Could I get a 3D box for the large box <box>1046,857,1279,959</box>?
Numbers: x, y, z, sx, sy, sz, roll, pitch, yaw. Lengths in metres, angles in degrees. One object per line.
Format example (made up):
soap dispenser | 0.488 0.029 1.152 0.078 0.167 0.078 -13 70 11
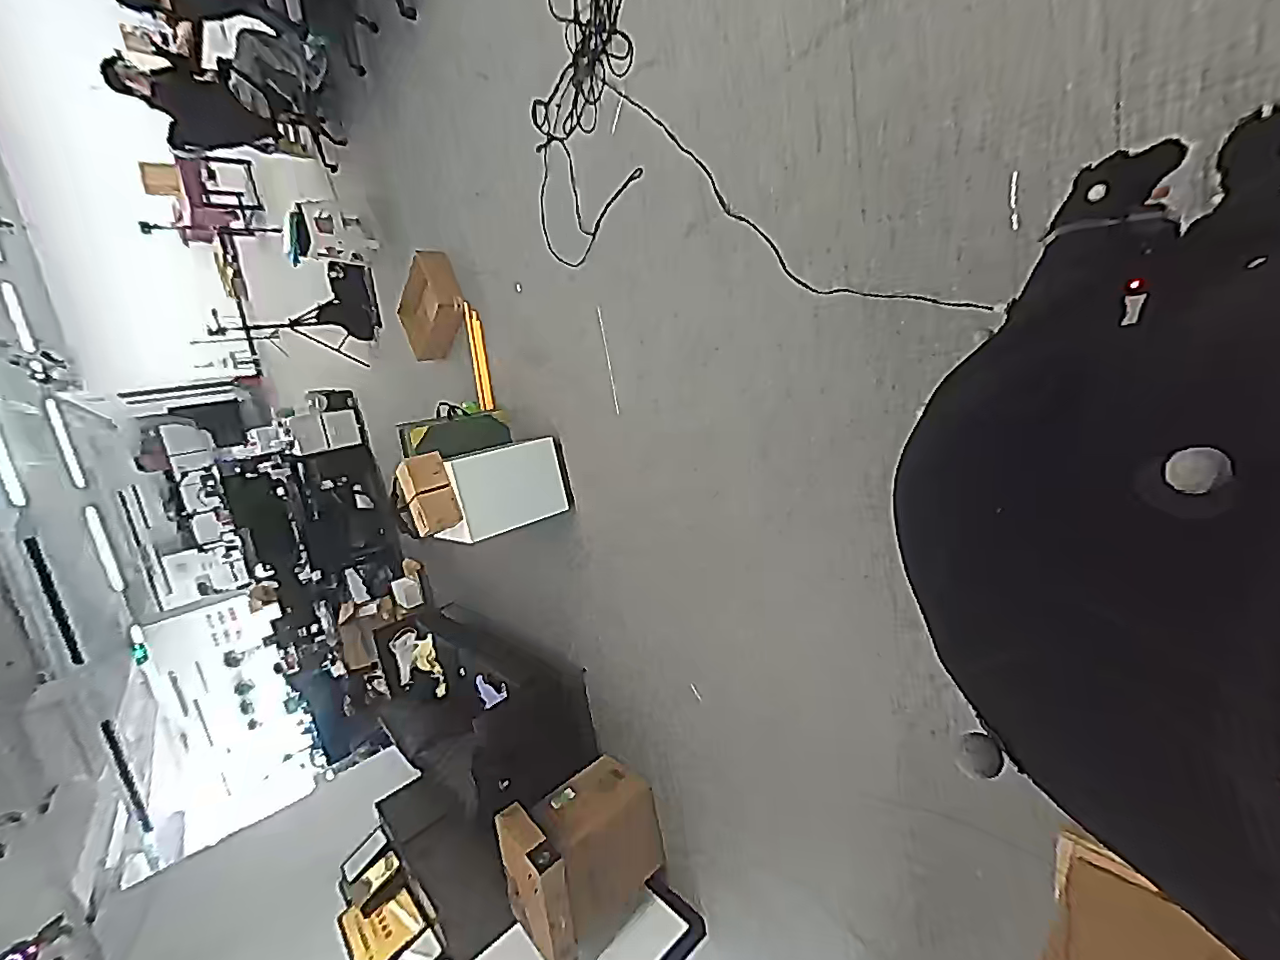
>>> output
large box | 0.964 0.964 0.907 0.408 0.320 0.320 4 111 51
